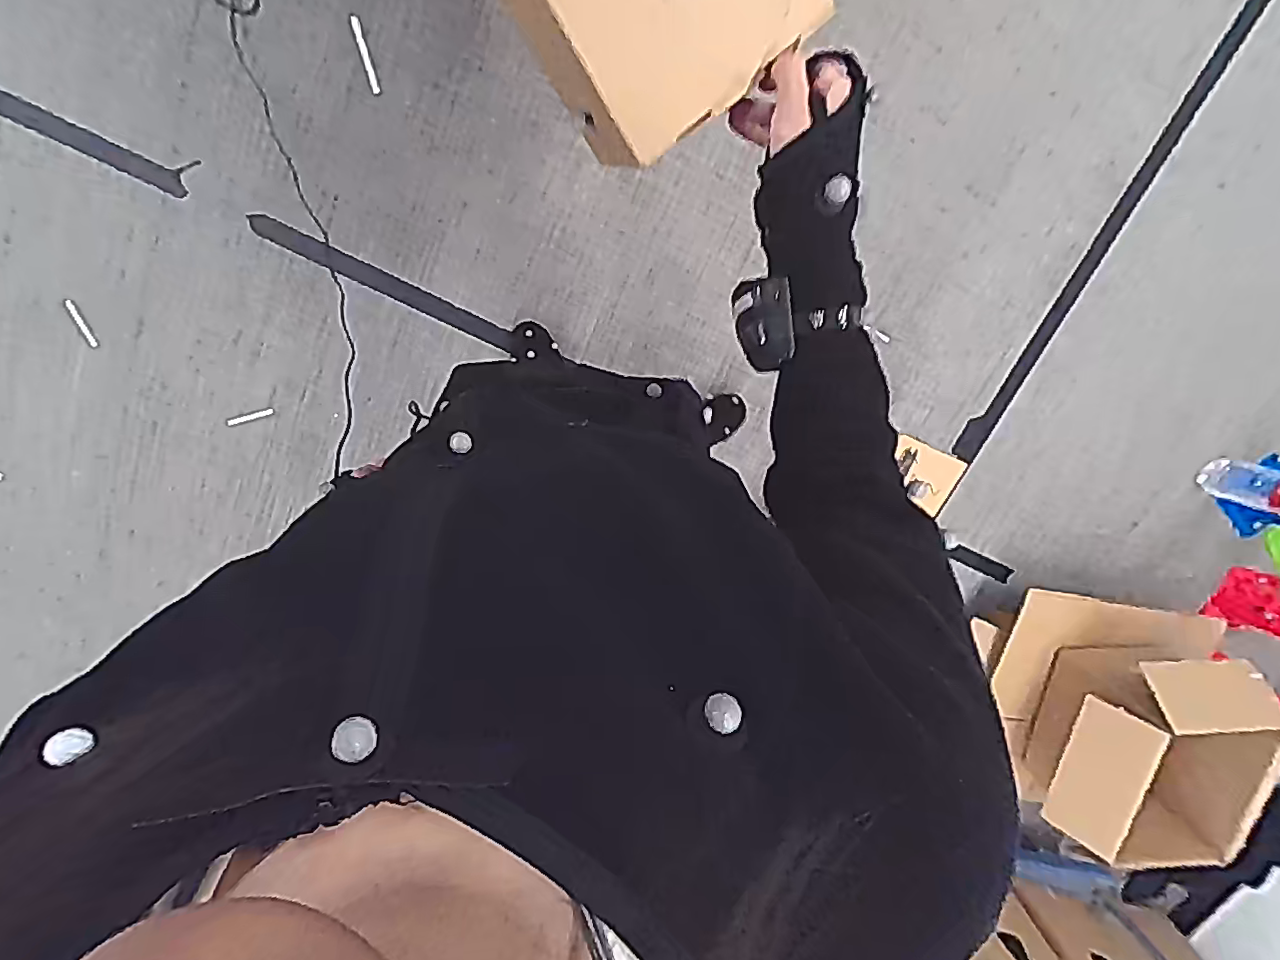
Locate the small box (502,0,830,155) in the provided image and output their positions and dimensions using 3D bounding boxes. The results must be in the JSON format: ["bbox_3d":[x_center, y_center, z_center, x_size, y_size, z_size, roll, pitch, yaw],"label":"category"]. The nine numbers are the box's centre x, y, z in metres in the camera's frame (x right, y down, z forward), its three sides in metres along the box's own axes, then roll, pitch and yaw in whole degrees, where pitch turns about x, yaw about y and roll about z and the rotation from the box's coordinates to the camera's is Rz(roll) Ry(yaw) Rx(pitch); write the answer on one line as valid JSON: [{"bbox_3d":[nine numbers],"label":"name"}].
[{"bbox_3d":[-0.003,-0.366,0.384,0.168,0.176,0.179,-37,123,6],"label":"small box"}]
